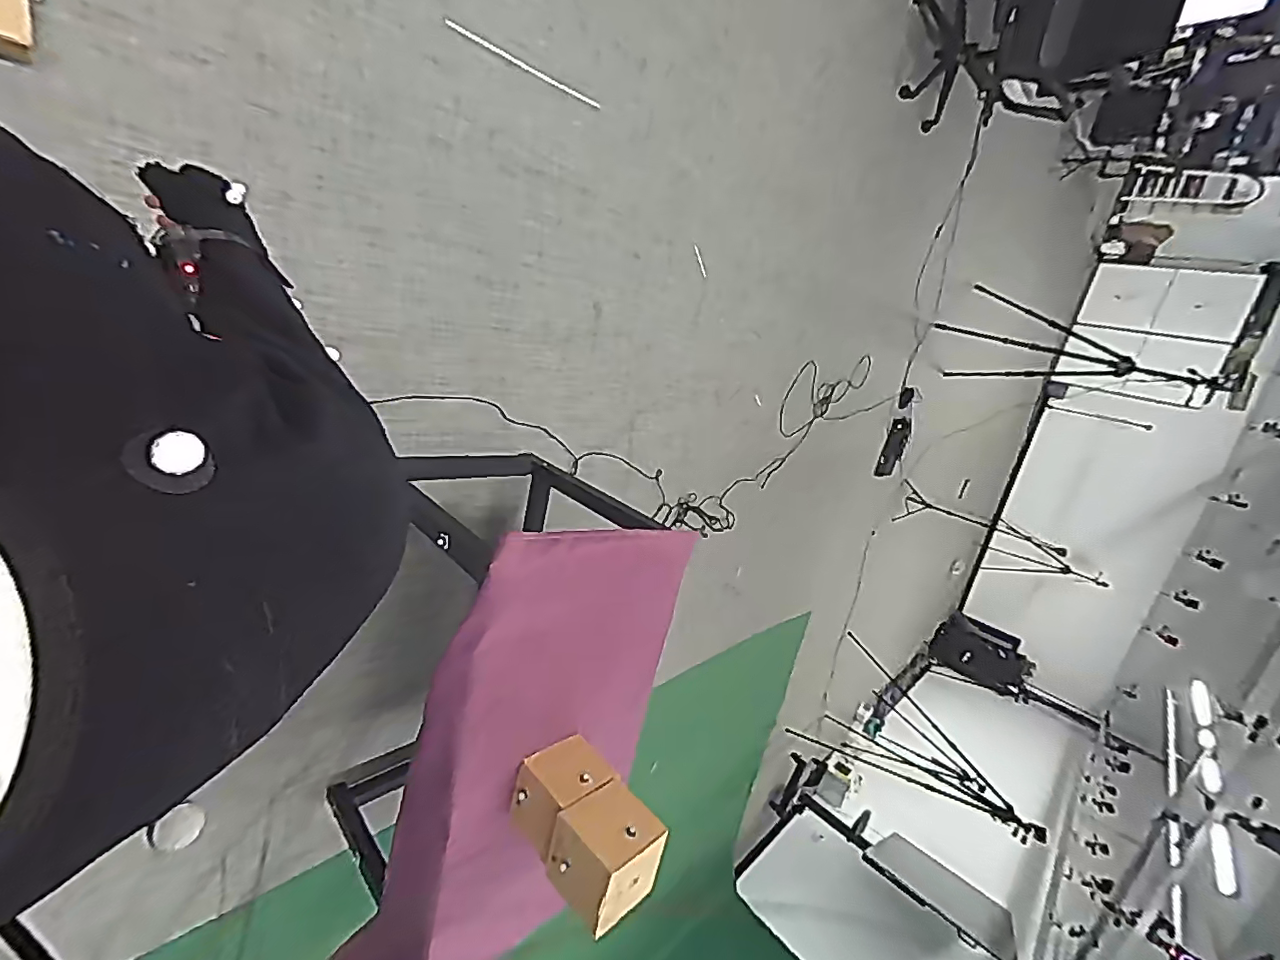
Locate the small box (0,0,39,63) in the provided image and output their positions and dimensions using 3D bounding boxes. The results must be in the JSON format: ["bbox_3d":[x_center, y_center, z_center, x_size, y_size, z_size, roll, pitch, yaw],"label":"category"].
[{"bbox_3d":[-0.979,-0.729,0.761,0.168,0.176,0.179,-7,114,-46],"label":"small box"}]

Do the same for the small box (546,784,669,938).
[{"bbox_3d":[-0.070,0.790,1.146,0.179,0.176,0.168,-1,108,-47],"label":"small box"}]

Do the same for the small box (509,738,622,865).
[{"bbox_3d":[-0.175,0.741,1.263,0.179,0.176,0.168,2,107,-48],"label":"small box"}]
